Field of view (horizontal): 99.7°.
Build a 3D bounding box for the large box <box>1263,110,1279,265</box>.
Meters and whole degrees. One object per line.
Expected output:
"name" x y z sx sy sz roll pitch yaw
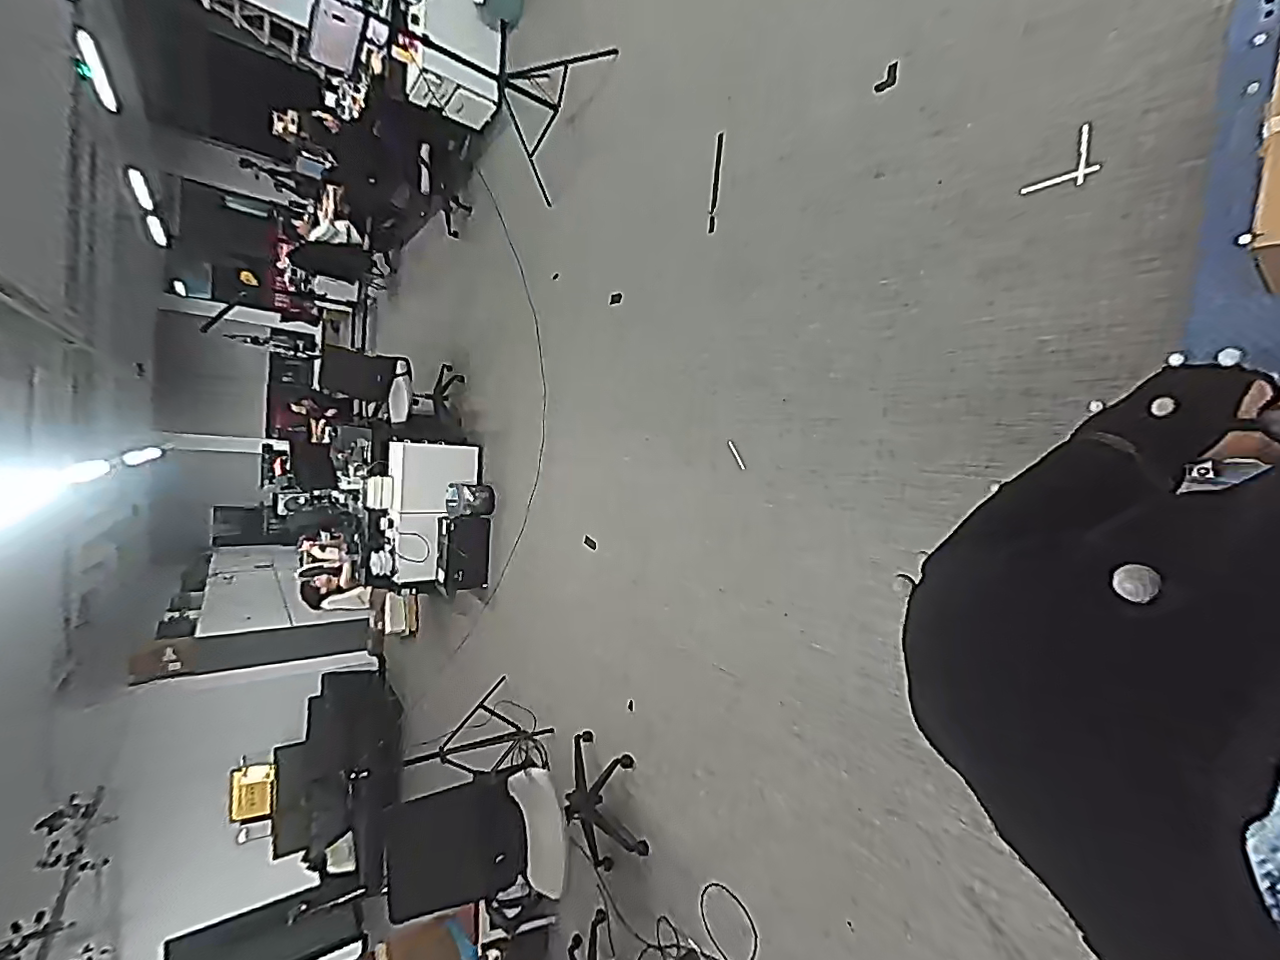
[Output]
"large box" 1.085 -0.456 0.642 0.408 0.320 0.320 10 96 54
